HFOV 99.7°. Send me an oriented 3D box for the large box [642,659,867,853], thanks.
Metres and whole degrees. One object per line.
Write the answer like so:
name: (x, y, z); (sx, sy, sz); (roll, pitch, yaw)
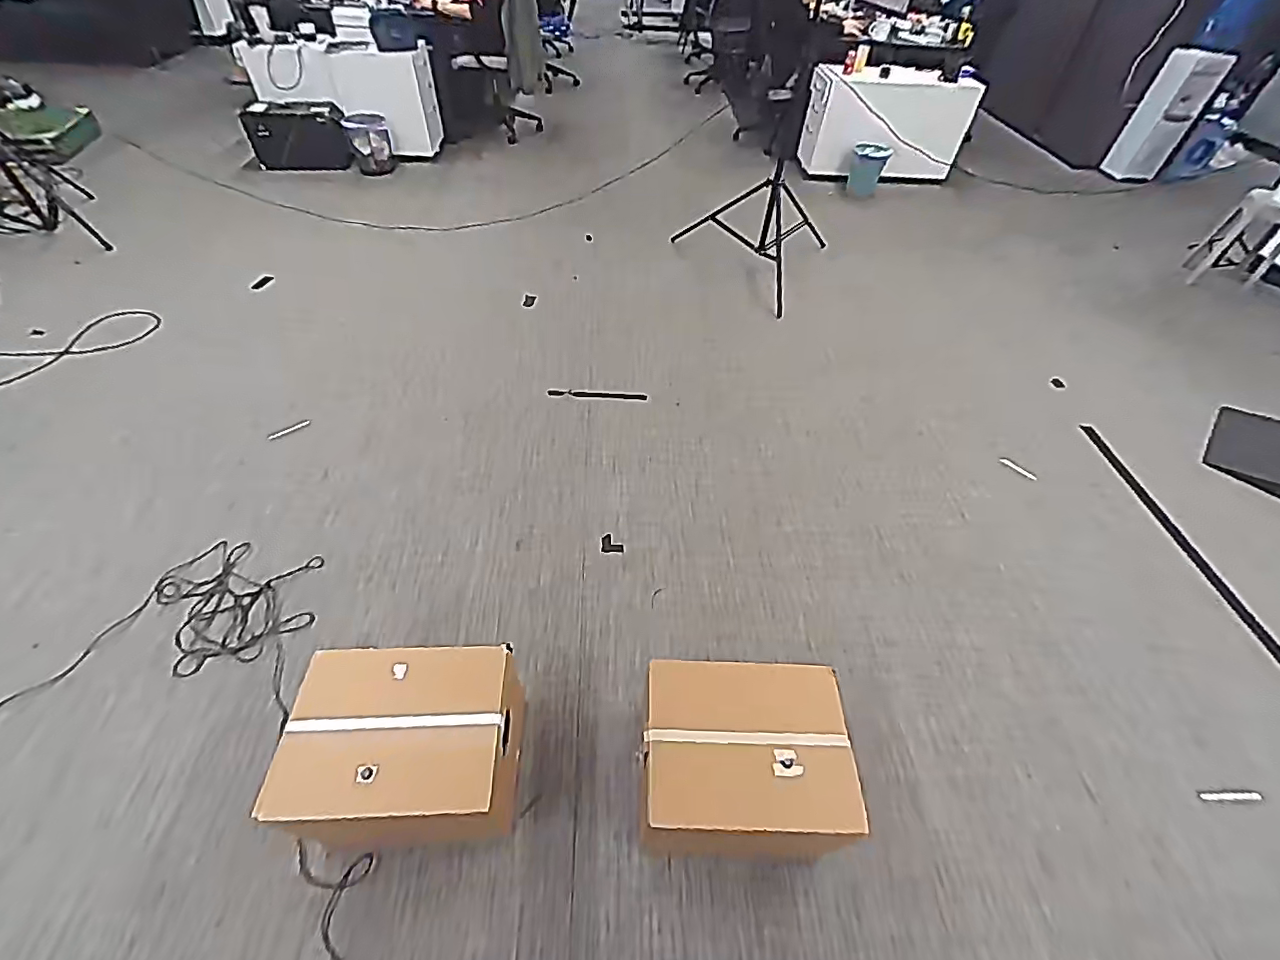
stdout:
large box: (0.212, 0.613, 1.192); (0.408, 0.320, 0.320); (3, 49, -2)
